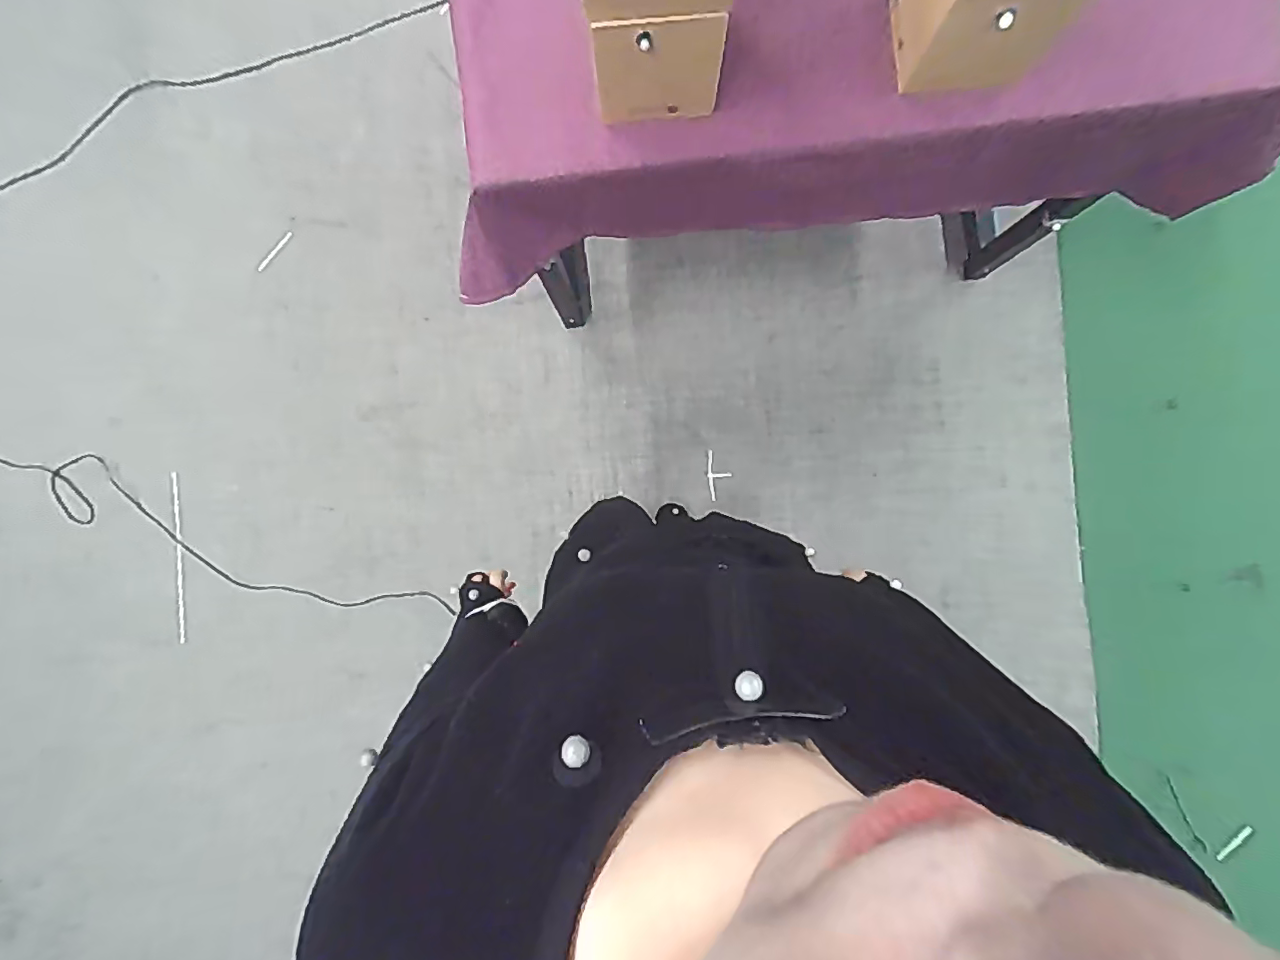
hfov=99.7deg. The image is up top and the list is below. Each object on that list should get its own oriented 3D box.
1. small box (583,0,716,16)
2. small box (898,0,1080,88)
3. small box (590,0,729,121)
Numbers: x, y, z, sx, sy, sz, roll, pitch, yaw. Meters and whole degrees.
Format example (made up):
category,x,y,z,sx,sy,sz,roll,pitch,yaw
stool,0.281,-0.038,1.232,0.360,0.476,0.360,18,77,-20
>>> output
category,x,y,z,sx,sy,sz,roll,pitch,yaw
small box,0.017,-0.626,0.553,0.179,0.176,0.168,-2,88,2
small box,0.455,-0.652,0.705,0.179,0.176,0.168,-4,88,1
small box,0.021,-0.621,0.716,0.168,0.176,0.179,-3,88,2
